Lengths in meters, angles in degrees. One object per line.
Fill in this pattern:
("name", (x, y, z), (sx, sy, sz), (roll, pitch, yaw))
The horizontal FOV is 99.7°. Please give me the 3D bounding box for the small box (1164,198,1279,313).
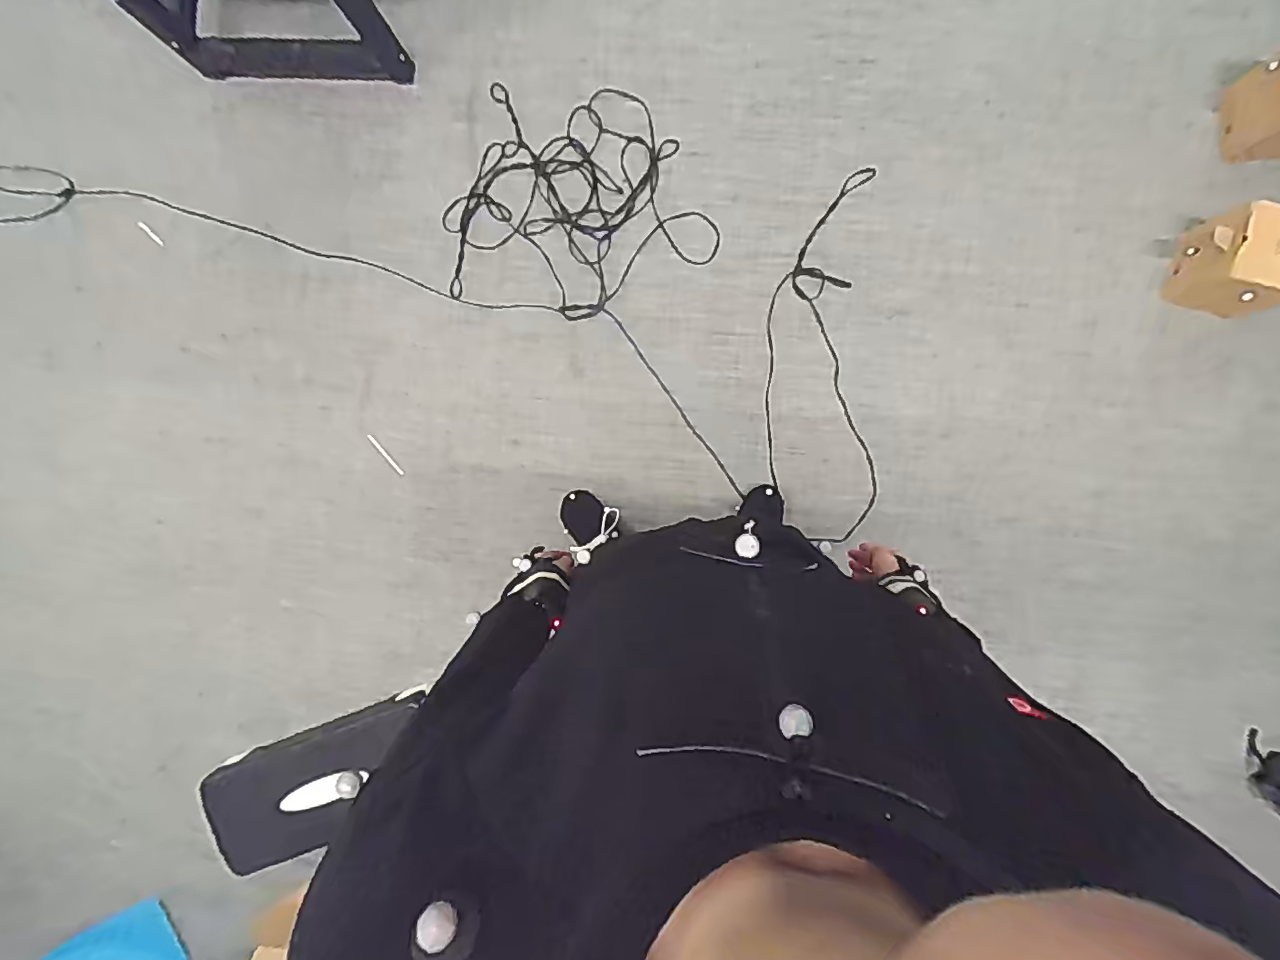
("small box", (1.324, -0.478, 1.179), (0.179, 0.176, 0.168), (16, 93, 4))
